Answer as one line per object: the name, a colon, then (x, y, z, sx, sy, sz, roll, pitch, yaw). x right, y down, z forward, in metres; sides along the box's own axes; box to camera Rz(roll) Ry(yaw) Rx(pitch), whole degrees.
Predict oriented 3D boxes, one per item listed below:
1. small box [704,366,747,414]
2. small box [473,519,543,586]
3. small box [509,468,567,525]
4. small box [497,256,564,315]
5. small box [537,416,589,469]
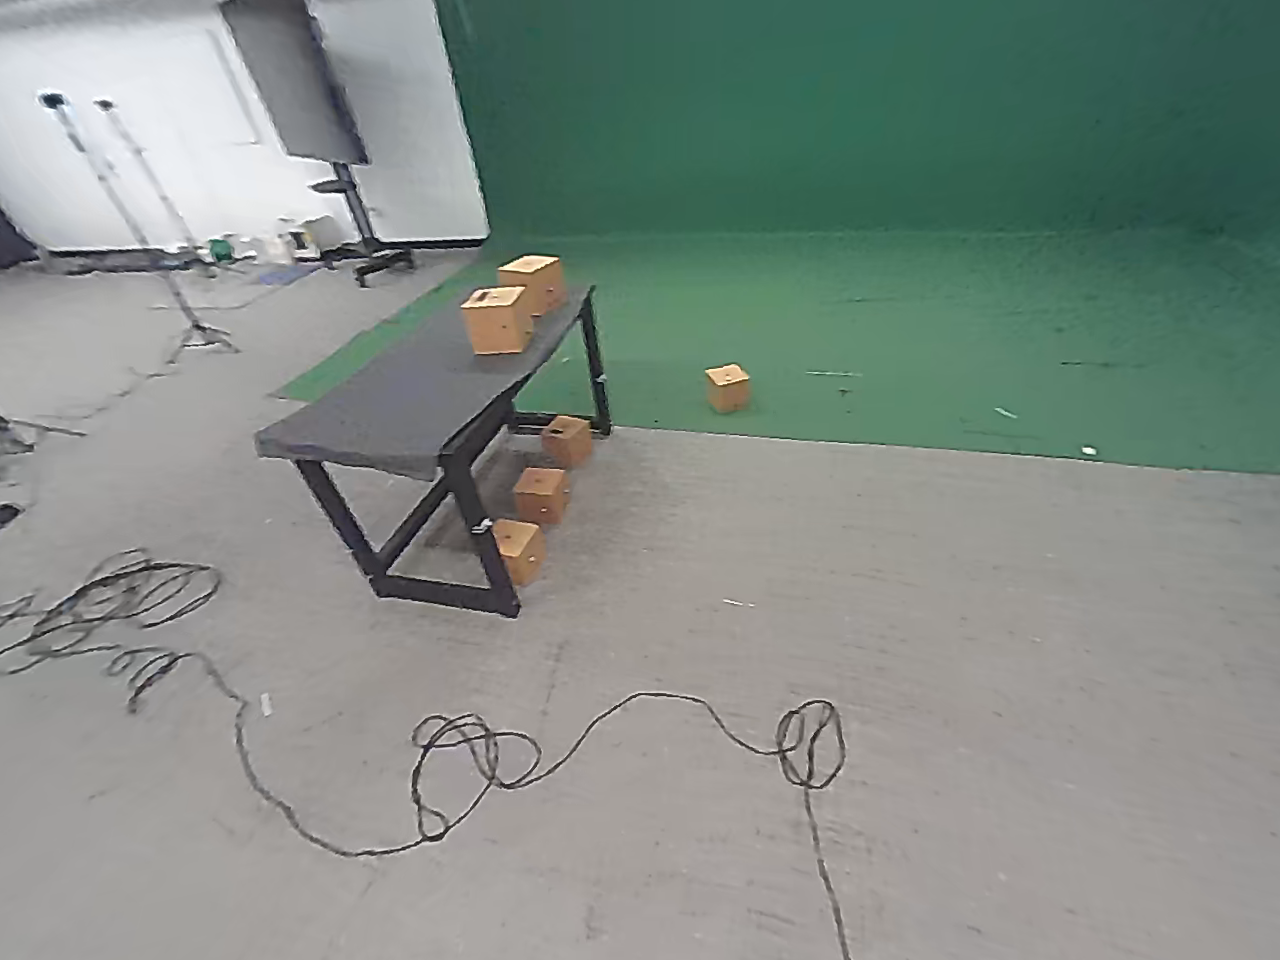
small box: (0.437, -0.464, 2.792, 0.168, 0.176, 0.179, -15, 39, -10)
small box: (-0.483, 0.273, 2.011, 0.179, 0.176, 0.168, 8, 41, 18)
small box: (-0.417, 0.071, 2.248, 0.179, 0.176, 0.168, 3, 39, 13)
small box: (-0.418, -0.752, 2.095, 0.179, 0.176, 0.168, 19, 45, 31)
small box: (-0.355, -0.176, 2.541, 0.168, 0.176, 0.179, 15, 42, 23)
